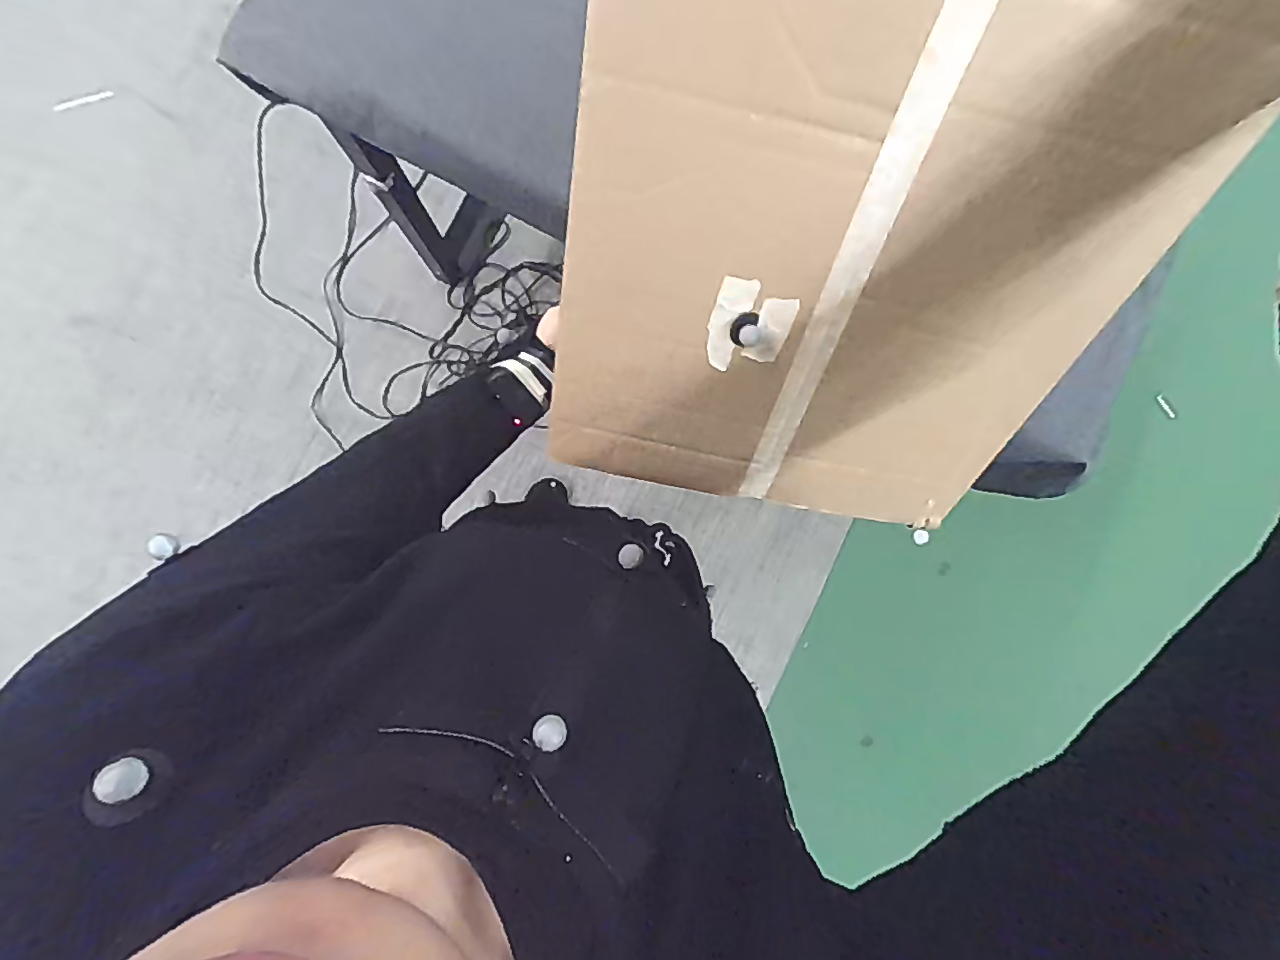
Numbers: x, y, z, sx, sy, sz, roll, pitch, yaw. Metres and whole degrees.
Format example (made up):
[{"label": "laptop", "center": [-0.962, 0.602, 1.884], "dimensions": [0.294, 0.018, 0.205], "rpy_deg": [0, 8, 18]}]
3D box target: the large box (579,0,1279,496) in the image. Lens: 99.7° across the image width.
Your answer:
[{"label": "large box", "center": [0.138, -0.251, 0.407], "dimensions": [0.320, 0.408, 0.320], "rpy_deg": [9, 43, -4]}]
